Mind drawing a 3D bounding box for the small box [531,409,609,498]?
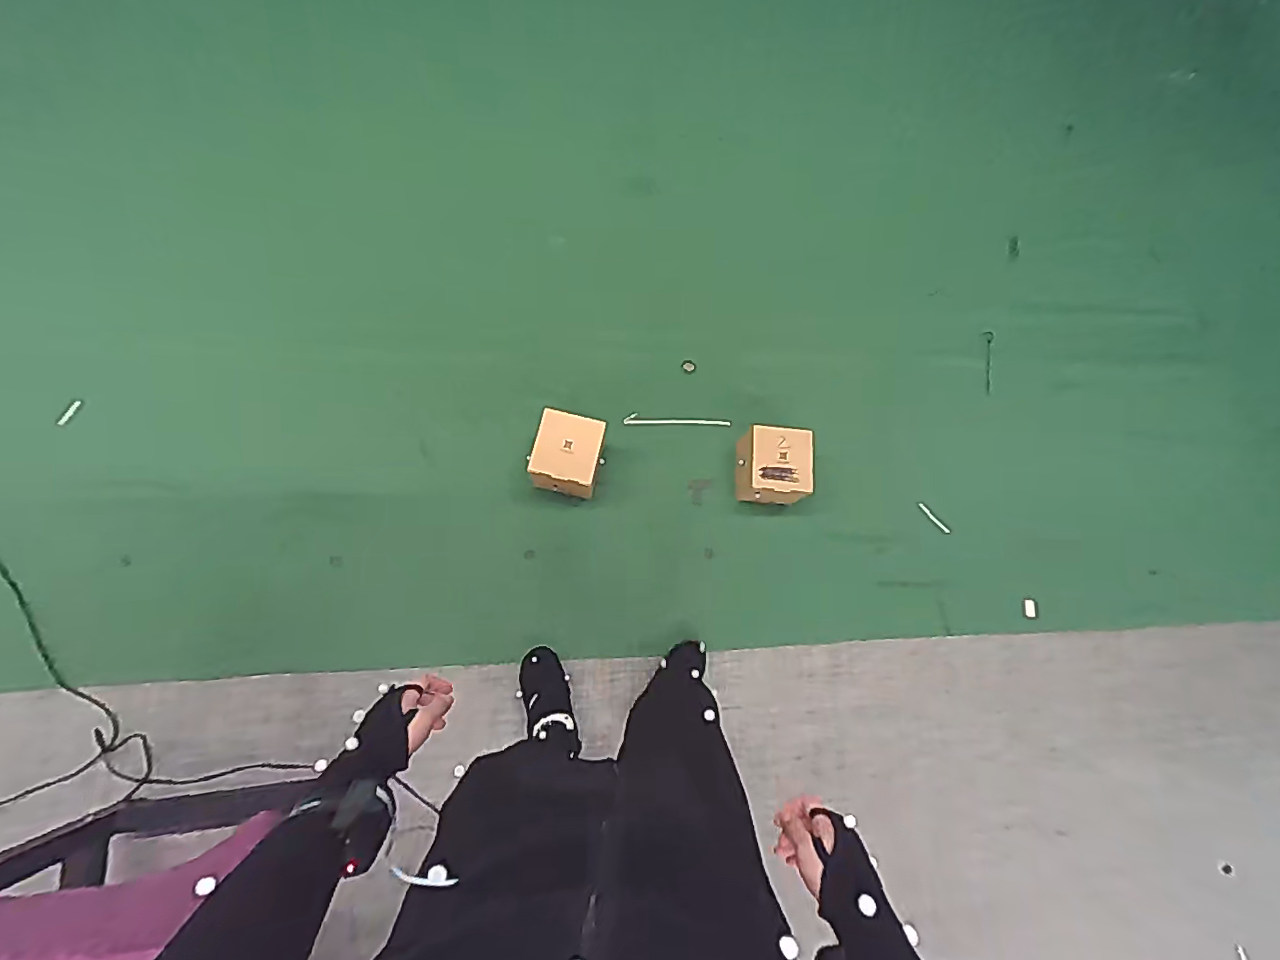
[{"bbox_3d":[-0.186,-0.065,1.450,0.168,0.176,0.179,14,77,-3],"label":"small box"}]
